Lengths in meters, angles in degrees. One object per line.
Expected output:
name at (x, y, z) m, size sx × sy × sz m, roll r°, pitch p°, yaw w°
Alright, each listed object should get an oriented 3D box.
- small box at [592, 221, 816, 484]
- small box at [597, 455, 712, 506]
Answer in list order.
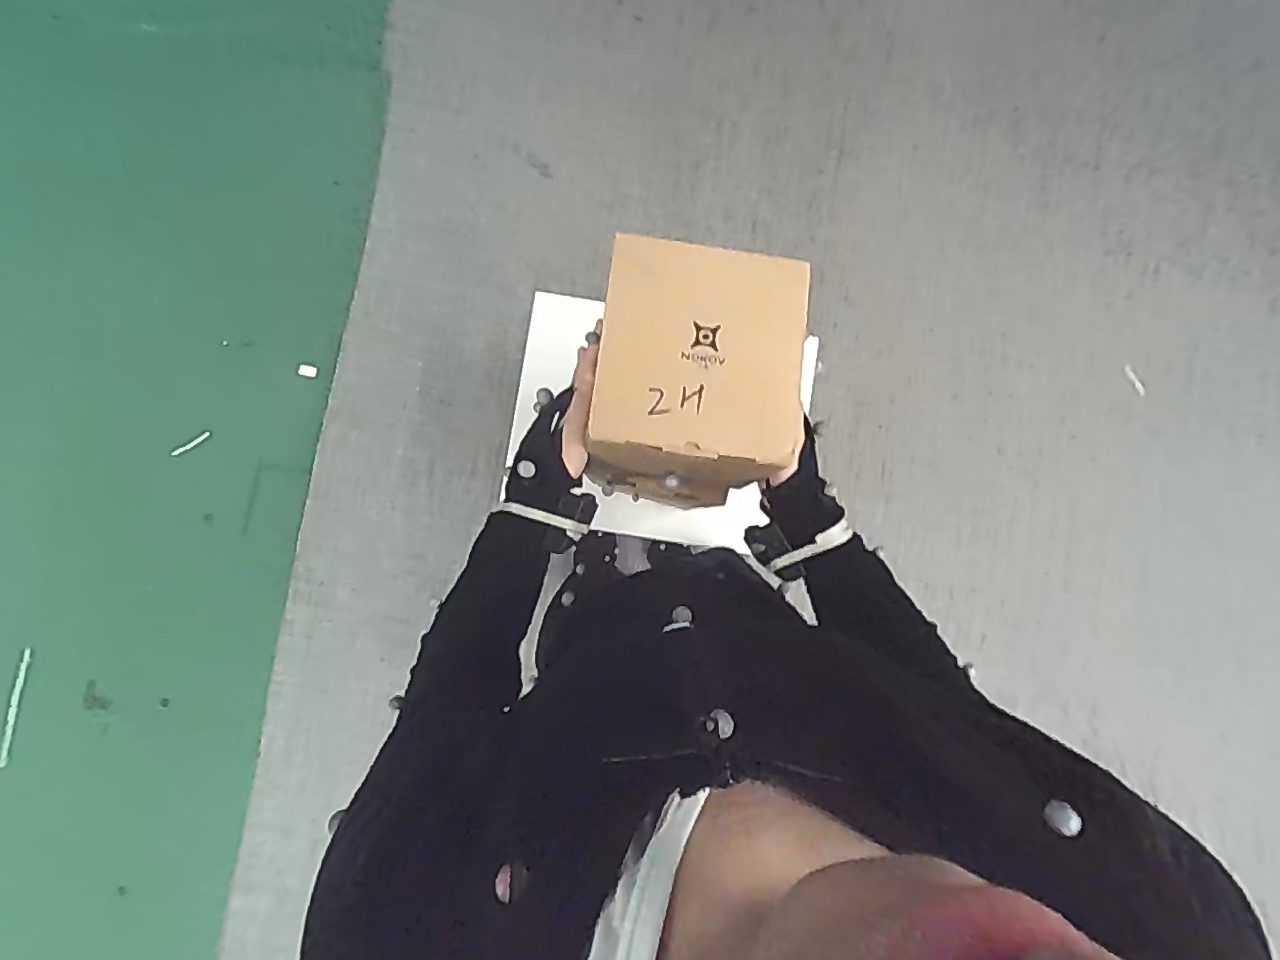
small box at (0.048, -0.101, 0.503) m, size 0.168 × 0.176 × 0.179 m, roll 8°, pitch 82°, yaw -2°
small box at (0.035, -0.065, 0.844) m, size 0.168 × 0.176 × 0.179 m, roll 15°, pitch 86°, yaw -1°
